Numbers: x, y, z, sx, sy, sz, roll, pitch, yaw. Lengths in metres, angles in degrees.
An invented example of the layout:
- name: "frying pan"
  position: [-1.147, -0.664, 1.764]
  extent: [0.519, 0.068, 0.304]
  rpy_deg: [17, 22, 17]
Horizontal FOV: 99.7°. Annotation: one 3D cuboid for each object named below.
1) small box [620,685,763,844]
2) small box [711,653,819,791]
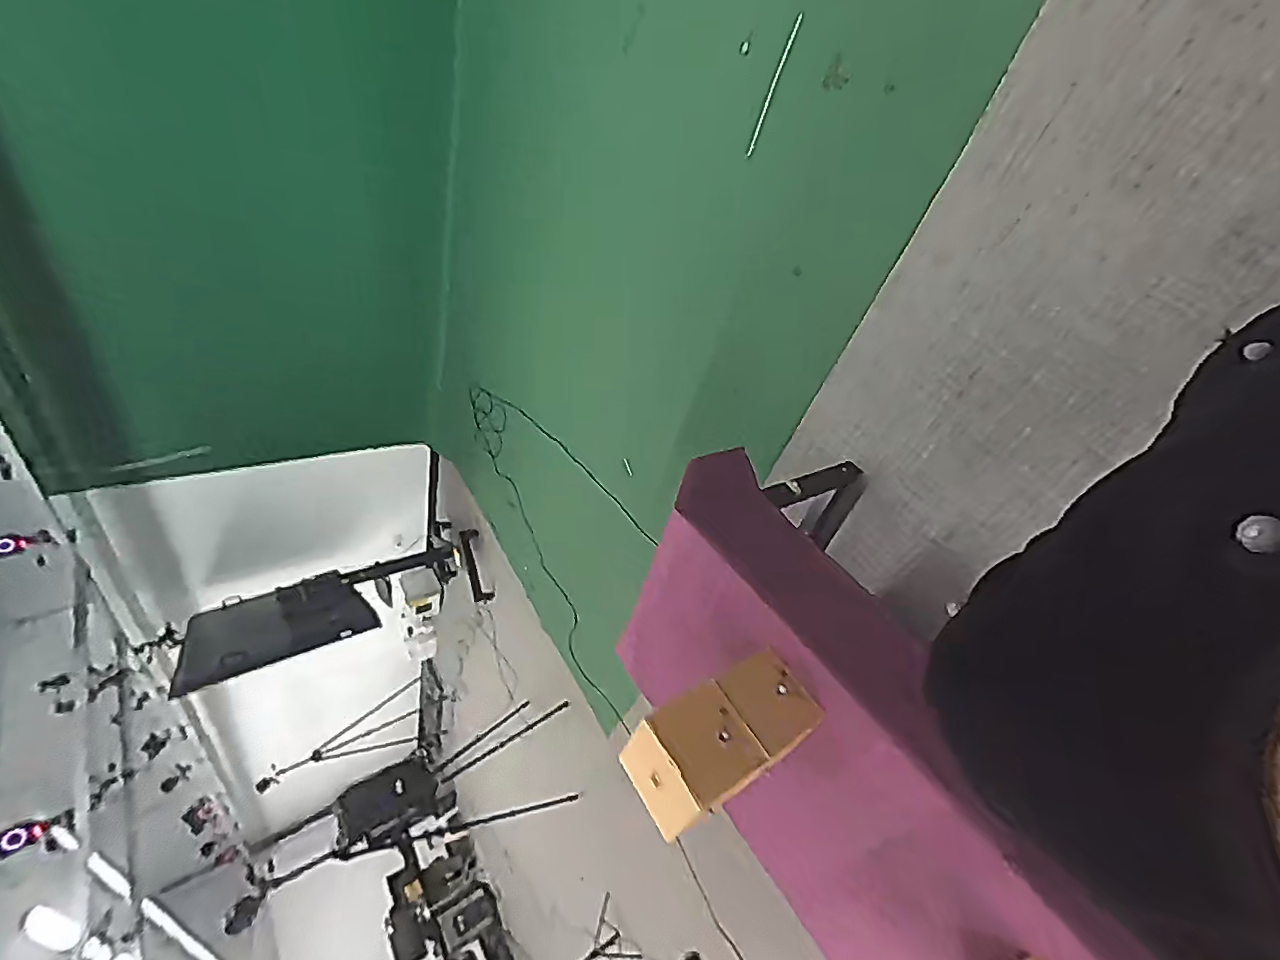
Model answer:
- name: "small box"
  position: [0.093, 0.512, 0.985]
  extent: [0.168, 0.176, 0.179]
  rpy_deg: [50, 136, 31]
- name: "small box"
  position: [0.222, 0.481, 1.079]
  extent: [0.168, 0.176, 0.179]
  rpy_deg: [49, 136, 31]
